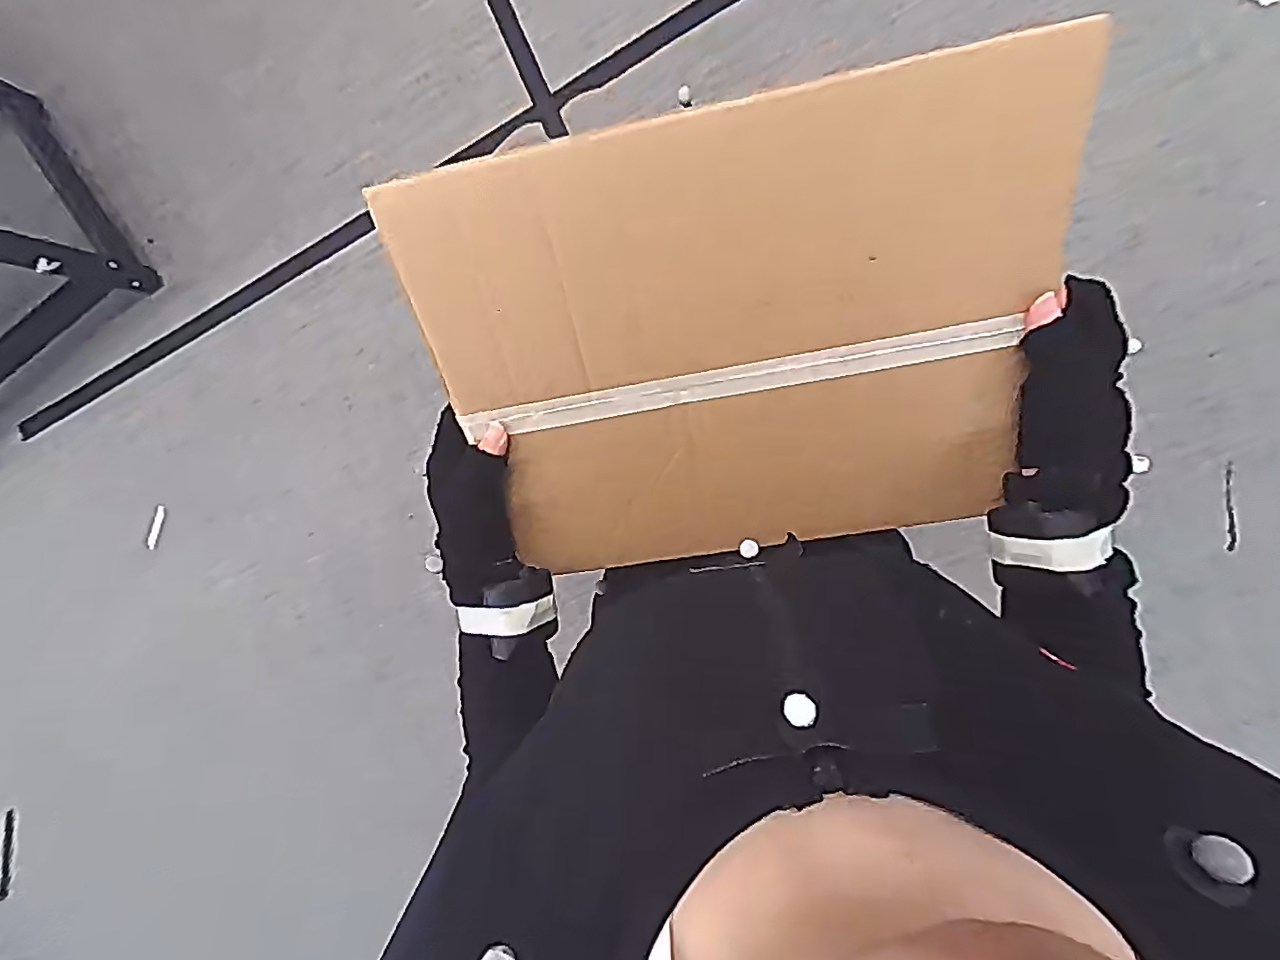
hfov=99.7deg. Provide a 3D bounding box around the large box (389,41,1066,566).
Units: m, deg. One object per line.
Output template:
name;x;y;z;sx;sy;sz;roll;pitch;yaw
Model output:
large box;0.068;-0.160;0.514;0.408;0.320;0.320;-9;123;7
